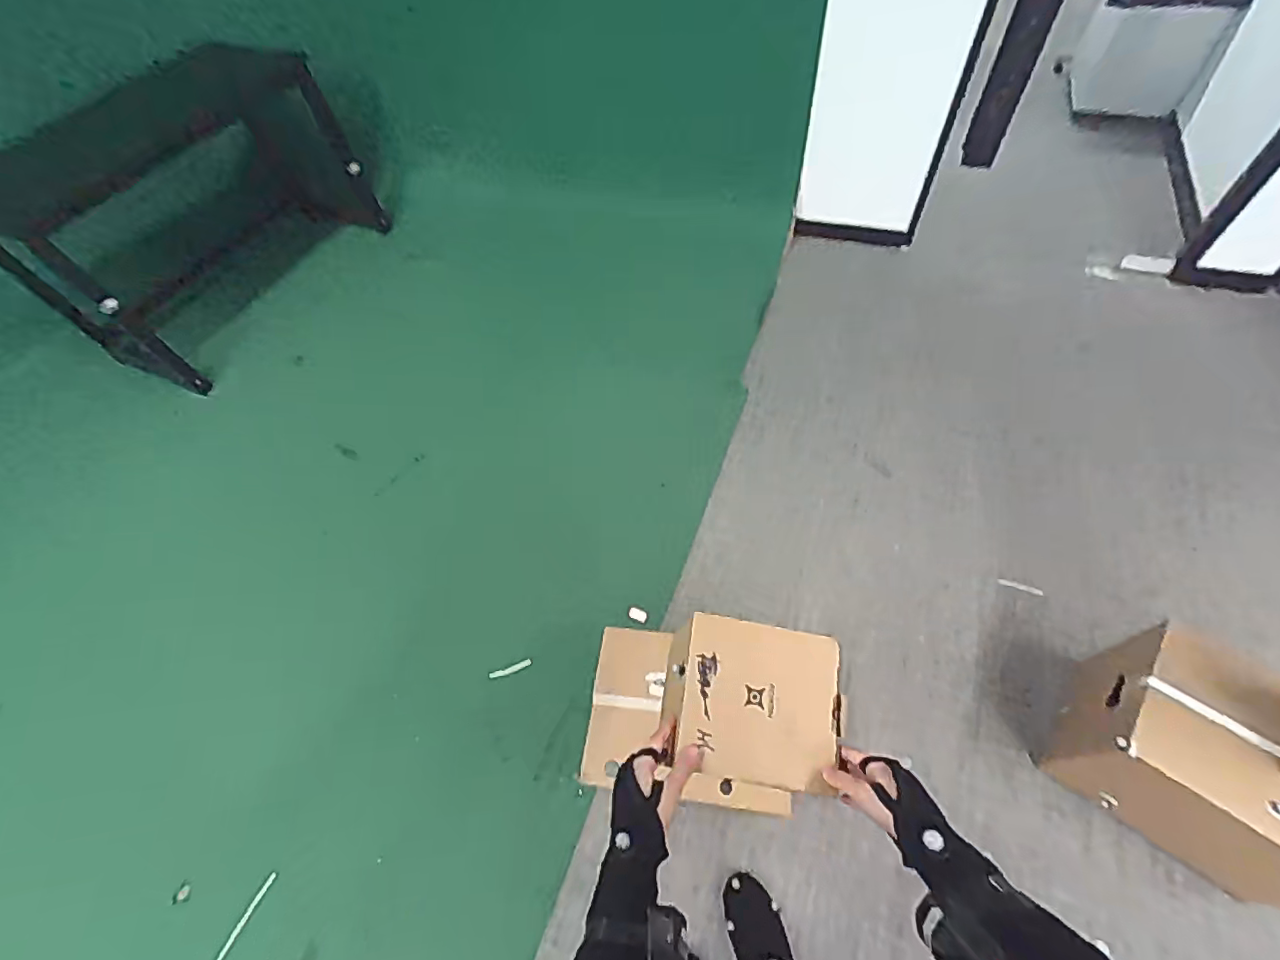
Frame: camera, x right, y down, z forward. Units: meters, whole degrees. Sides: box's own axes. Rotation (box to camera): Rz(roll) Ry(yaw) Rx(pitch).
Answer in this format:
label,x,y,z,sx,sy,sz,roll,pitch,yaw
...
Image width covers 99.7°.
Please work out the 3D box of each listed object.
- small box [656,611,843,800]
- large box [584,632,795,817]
label,x,y,z,sx,sy,sz,roll,pitch,yaw
small box,0.126,0.272,0.656,0.179,0.176,0.168,11,63,-1
large box,0.123,0.555,1.215,0.408,0.320,0.320,3,57,10
